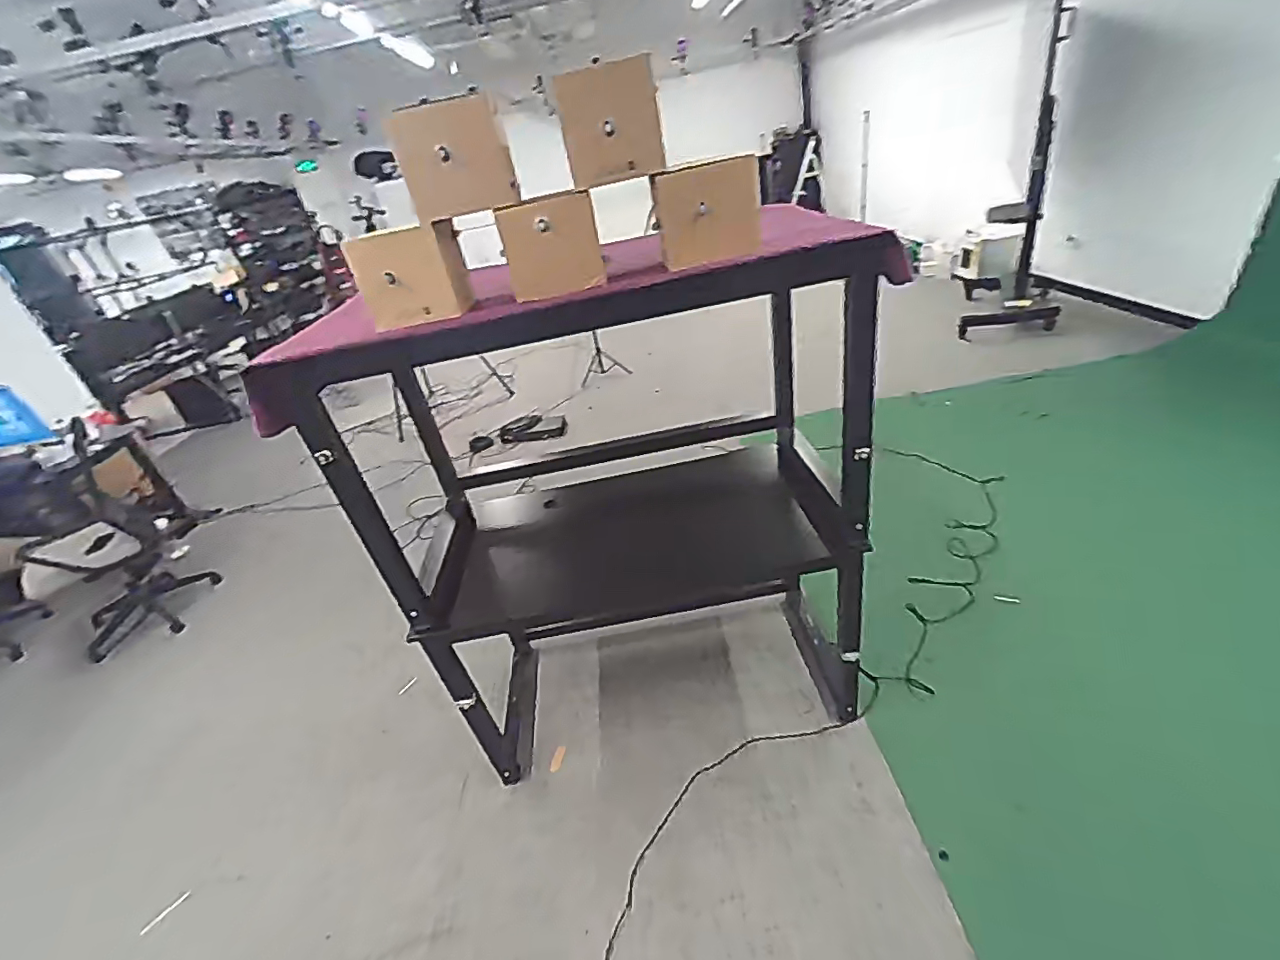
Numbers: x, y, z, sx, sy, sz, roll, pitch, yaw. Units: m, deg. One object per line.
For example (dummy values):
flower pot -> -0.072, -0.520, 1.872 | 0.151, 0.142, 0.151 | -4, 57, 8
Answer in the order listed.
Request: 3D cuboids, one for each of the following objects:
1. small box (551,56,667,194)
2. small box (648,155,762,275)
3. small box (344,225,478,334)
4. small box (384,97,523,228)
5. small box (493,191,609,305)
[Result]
small box -> -0.053, -0.616, 0.958 | 0.168, 0.176, 0.179 | -12, 30, 1
small box -> 0.123, -0.507, 1.037 | 0.179, 0.176, 0.168 | -13, 32, 2
small box -> -0.431, -0.394, 1.053 | 0.168, 0.176, 0.179 | -12, 29, 1
small box -> -0.321, -0.567, 0.975 | 0.179, 0.176, 0.168 | -13, 30, 0
small box -> -0.163, -0.450, 1.048 | 0.179, 0.176, 0.168 | -11, 31, 2
